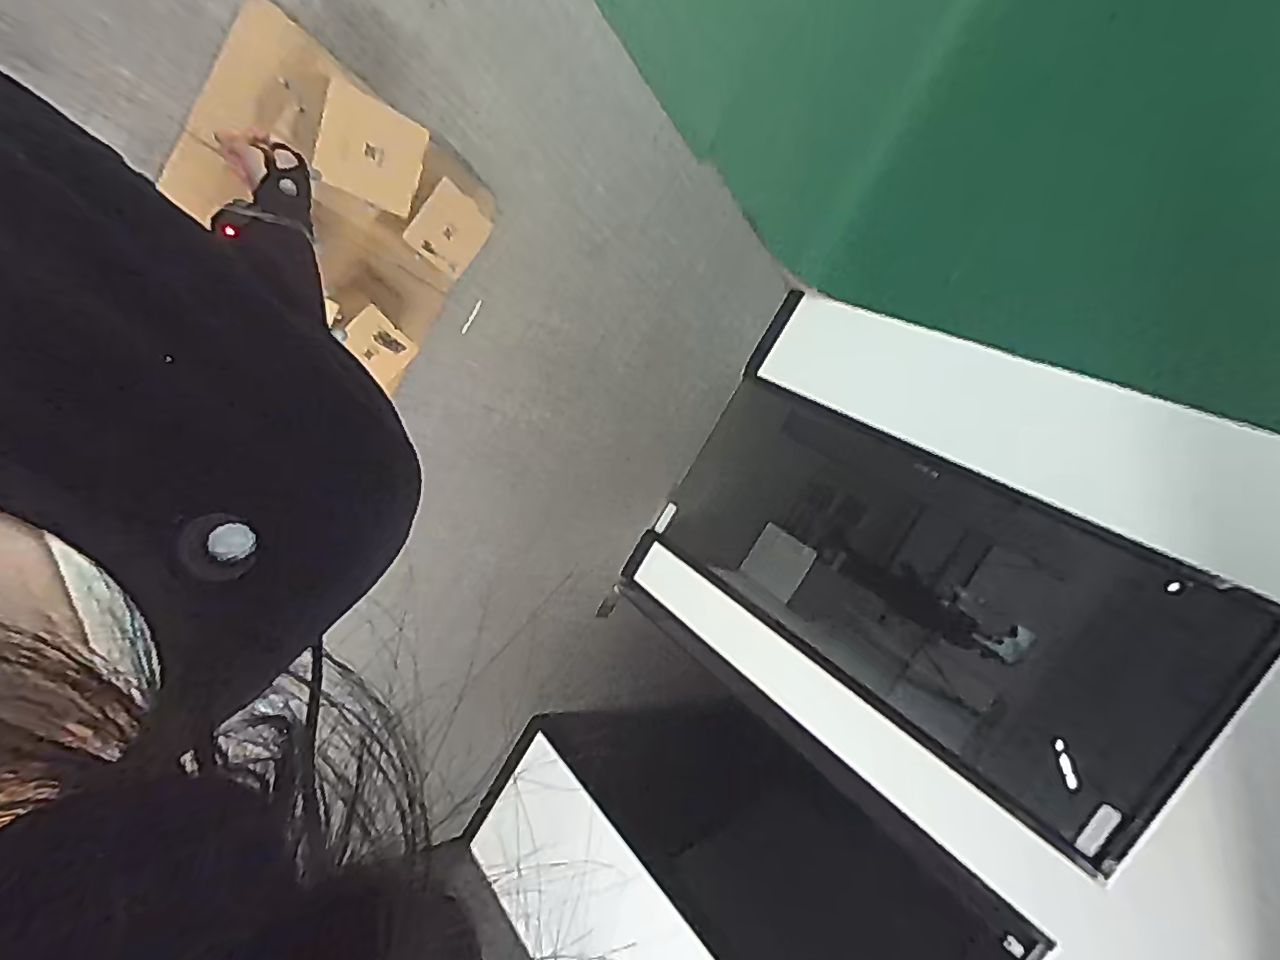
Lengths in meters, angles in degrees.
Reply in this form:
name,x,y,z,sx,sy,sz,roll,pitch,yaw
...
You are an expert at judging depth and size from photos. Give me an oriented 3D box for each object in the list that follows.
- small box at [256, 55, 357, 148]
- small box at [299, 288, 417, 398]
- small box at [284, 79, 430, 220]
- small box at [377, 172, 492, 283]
name,x,y,z,sx,sy,sz,roll,pitch,yaw
small box,-0.639,-0.720,1.104,0.168,0.176,0.179,-54,145,1
small box,-0.699,-0.342,1.335,0.179,0.176,0.168,-48,144,-7
small box,-0.535,-0.623,1.019,0.179,0.176,0.168,5,113,-51
small box,-0.509,-0.625,1.329,0.179,0.176,0.168,-55,145,-1
